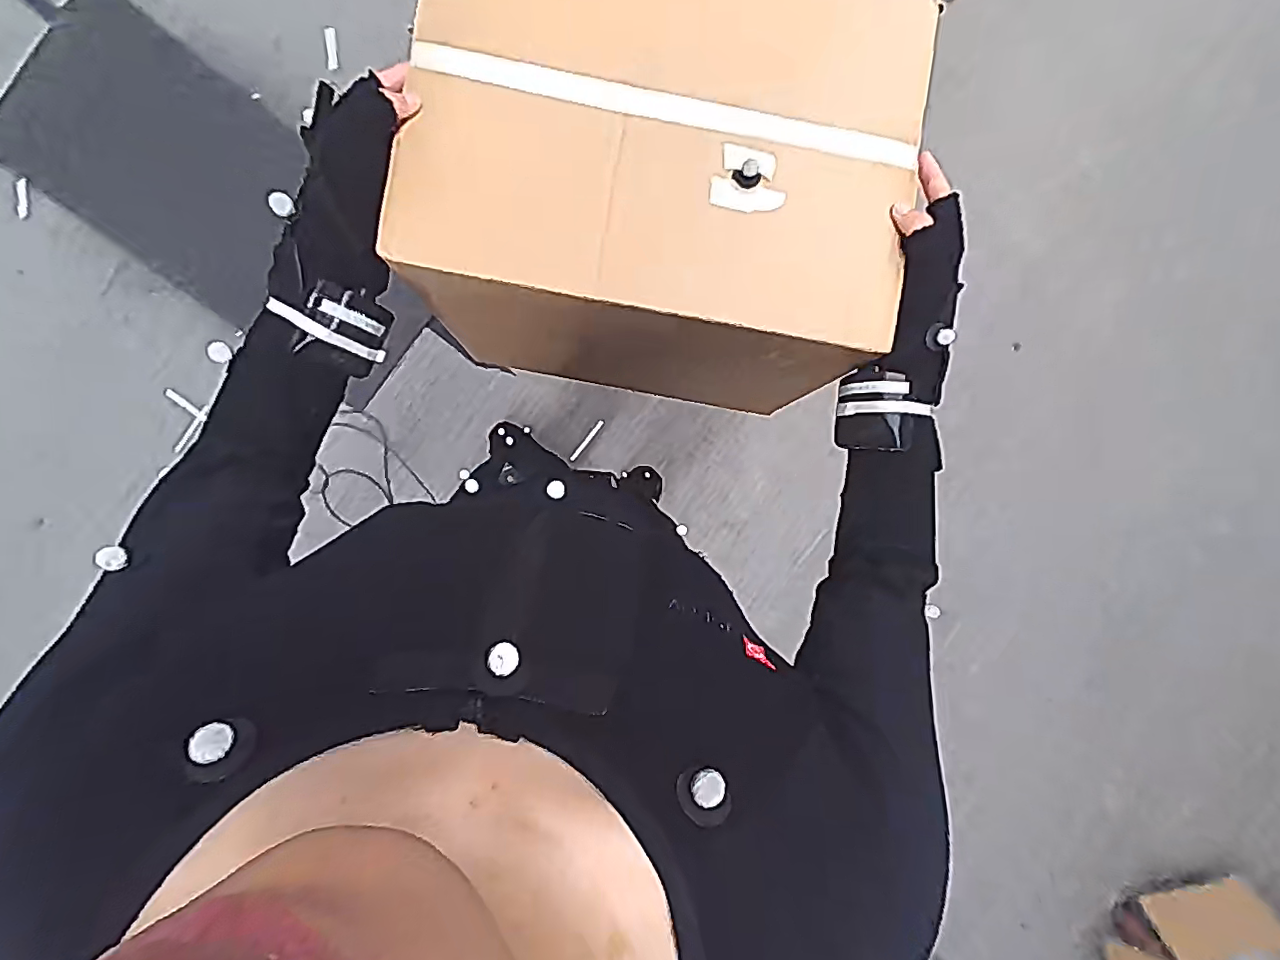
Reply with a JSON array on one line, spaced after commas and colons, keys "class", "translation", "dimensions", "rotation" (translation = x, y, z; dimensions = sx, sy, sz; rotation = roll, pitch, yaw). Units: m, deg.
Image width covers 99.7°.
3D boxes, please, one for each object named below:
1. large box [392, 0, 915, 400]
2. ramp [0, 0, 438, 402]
[{"class": "large box", "translation": [0.008, -0.292, 0.588], "dimensions": [0.408, 0.320, 0.320], "rotation": [9, 88, -4]}, {"class": "ramp", "translation": [-0.987, -0.692, 1.363], "dimensions": [0.991, 0.206, 0.509], "rotation": [36, 92, -2]}]
